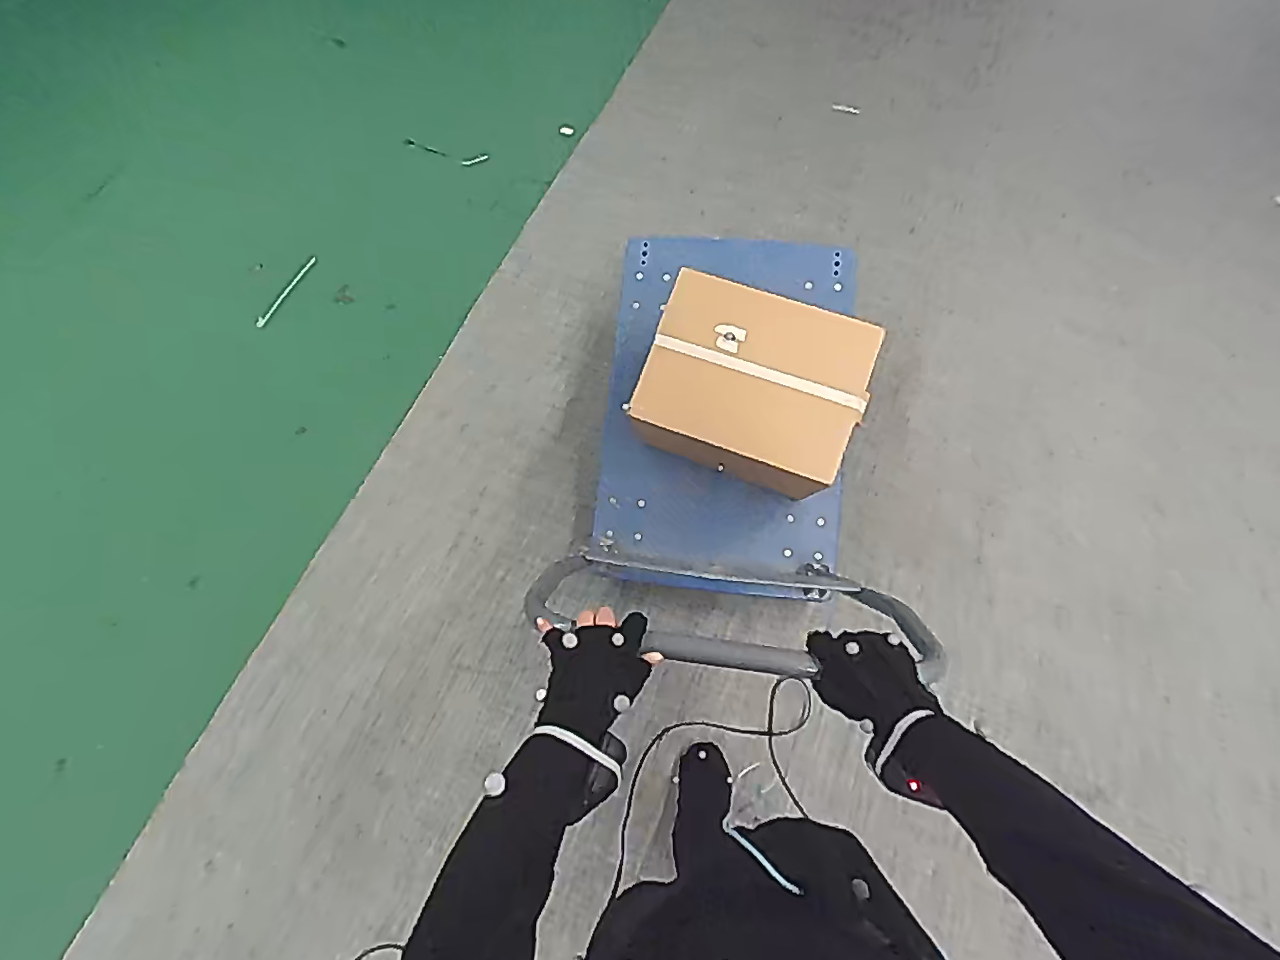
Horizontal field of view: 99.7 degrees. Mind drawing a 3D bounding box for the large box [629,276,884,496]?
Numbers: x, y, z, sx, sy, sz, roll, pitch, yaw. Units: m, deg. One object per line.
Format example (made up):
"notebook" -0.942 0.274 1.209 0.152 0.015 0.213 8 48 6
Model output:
"large box" 0.235 -0.176 1.158 0.408 0.320 0.320 20 86 9
